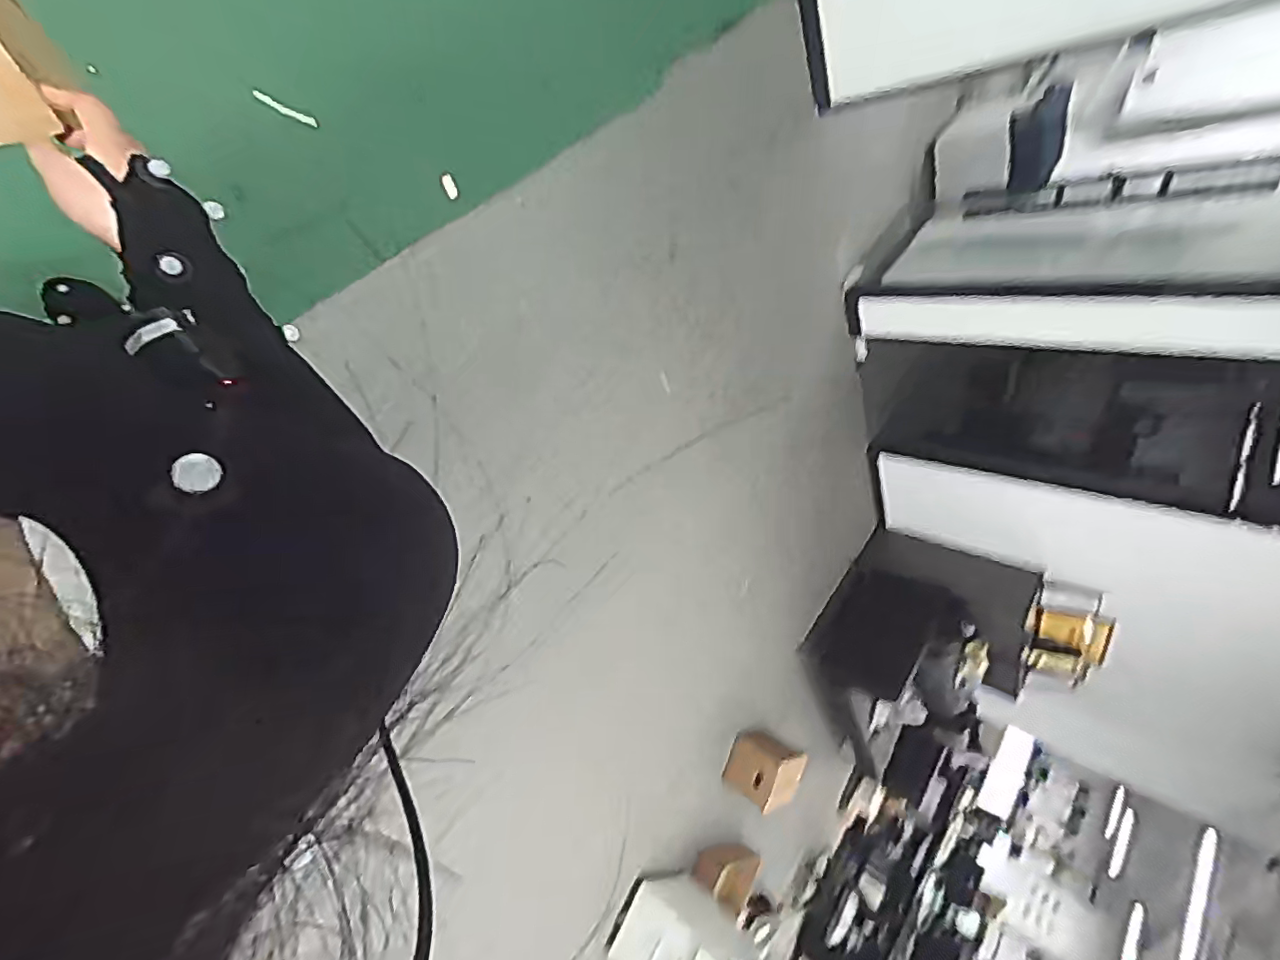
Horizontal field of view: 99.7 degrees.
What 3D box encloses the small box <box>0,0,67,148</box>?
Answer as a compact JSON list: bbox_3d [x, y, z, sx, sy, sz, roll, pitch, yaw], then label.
[{"bbox_3d":[-0.537,-0.320,0.354,0.179,0.176,0.168,-29,145,-20],"label":"small box"}]
